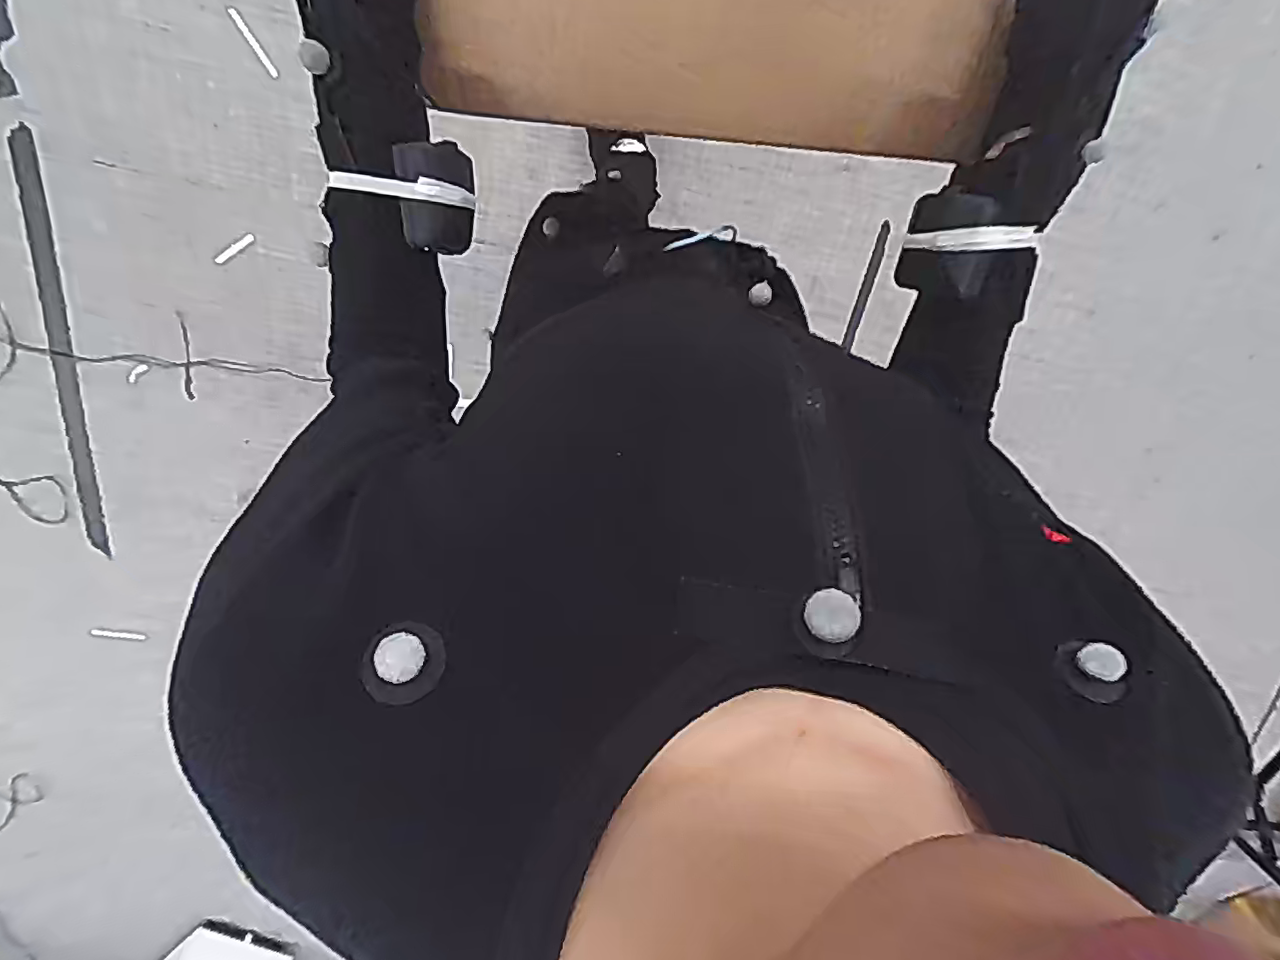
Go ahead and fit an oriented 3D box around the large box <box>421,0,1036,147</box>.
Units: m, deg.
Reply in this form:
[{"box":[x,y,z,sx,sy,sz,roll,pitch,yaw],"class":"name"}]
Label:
[{"box":[0.062,-0.471,0.400,0.408,0.320,0.320,4,134,-3],"class":"large box"}]
